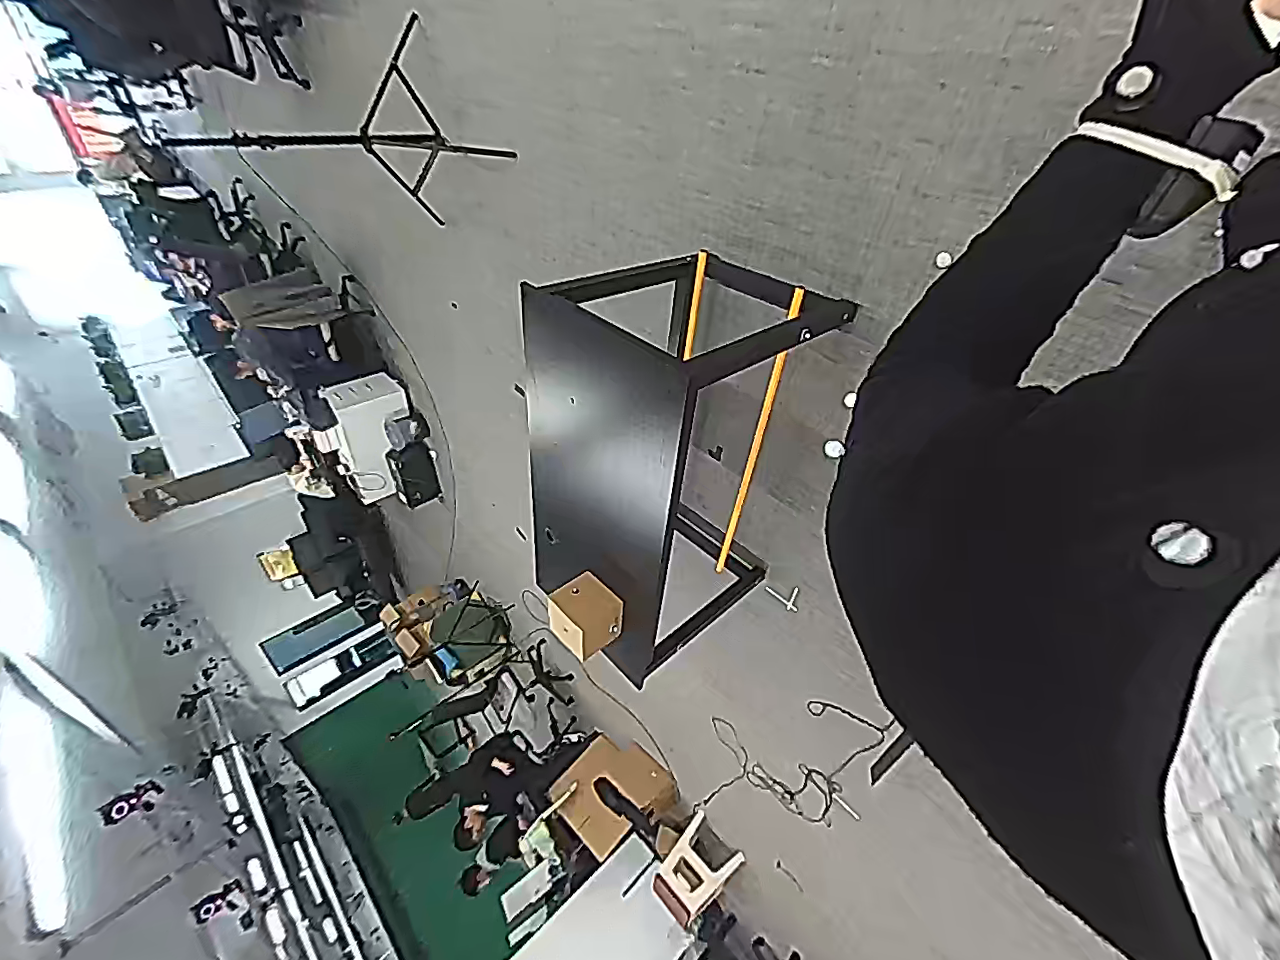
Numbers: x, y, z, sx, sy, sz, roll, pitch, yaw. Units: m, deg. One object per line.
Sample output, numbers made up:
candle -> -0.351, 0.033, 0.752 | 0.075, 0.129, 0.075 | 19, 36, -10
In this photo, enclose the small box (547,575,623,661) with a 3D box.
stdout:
small box -> -0.175, 0.429, 1.720 | 0.179, 0.176, 0.168 | 34, 137, 33
